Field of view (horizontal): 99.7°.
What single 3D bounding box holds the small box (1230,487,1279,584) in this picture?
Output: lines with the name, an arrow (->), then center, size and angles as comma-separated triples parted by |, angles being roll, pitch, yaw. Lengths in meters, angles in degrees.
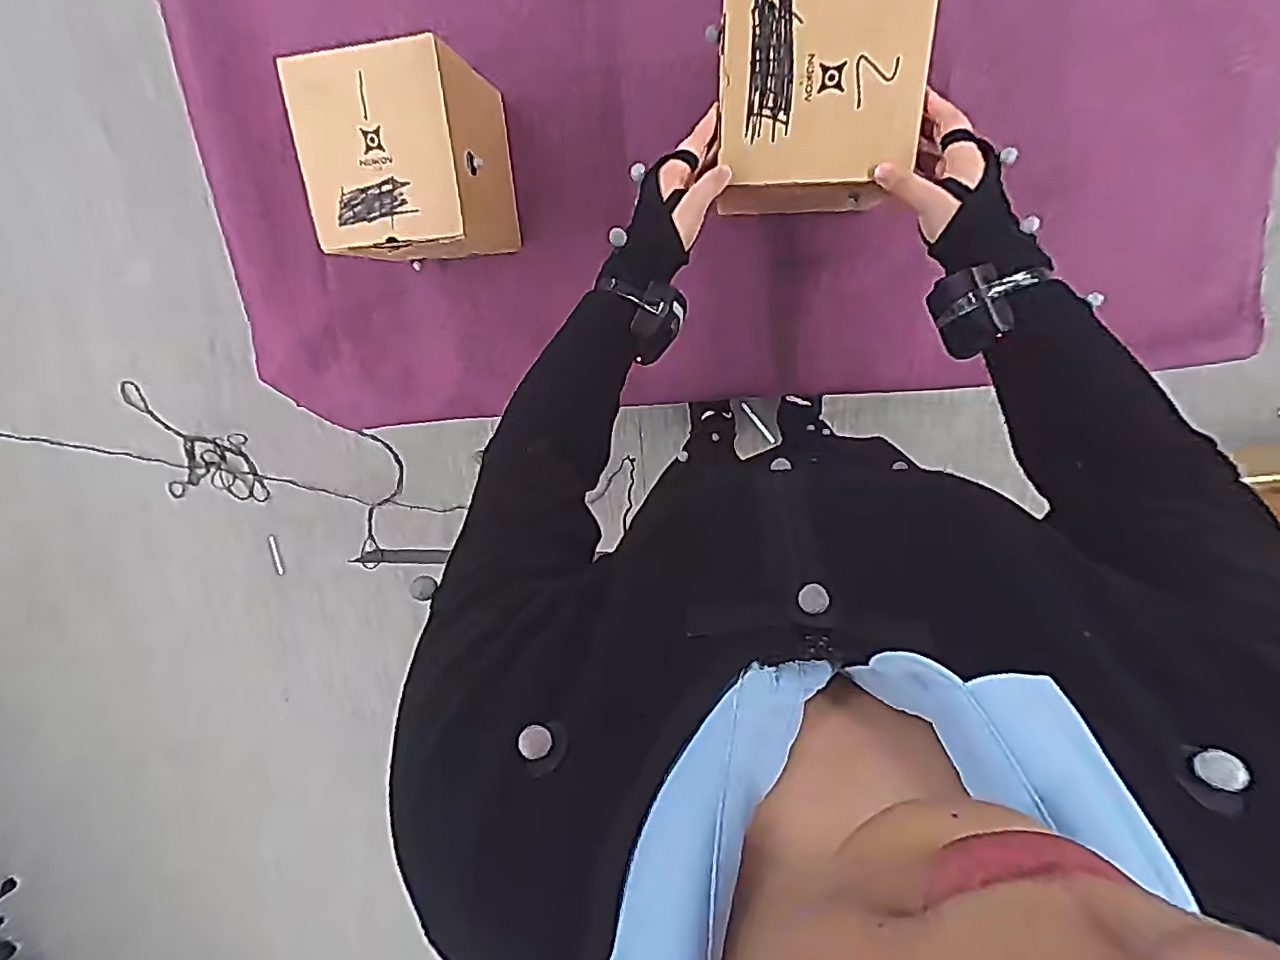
small box -> 1.501, 0.125, 1.217 | 0.168, 0.176, 0.179 | -8, 108, 10

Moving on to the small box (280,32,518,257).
small box -> -0.249, -0.352, 0.608 | 0.168, 0.176, 0.179 | -2, 107, 9
